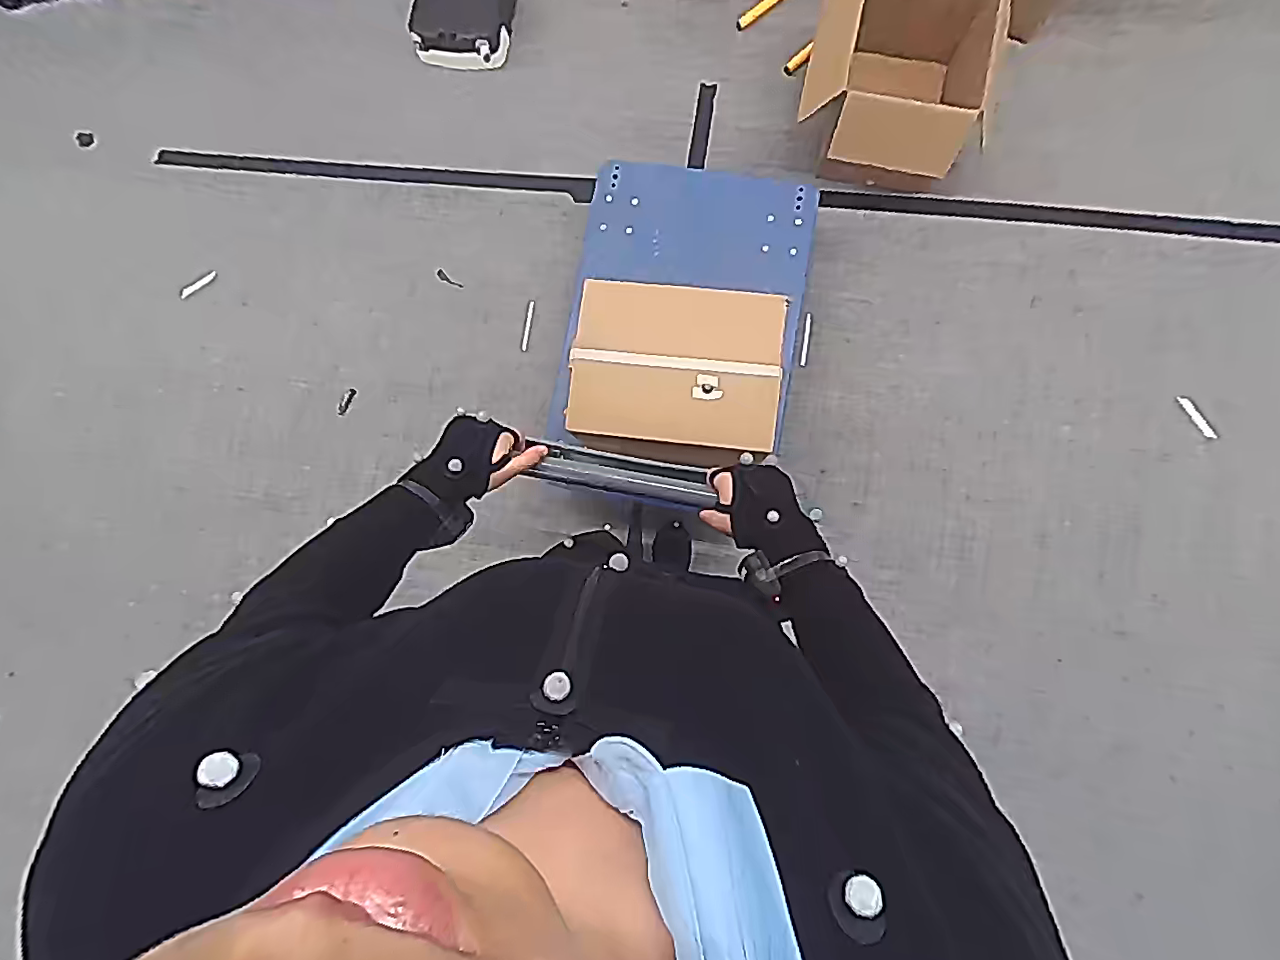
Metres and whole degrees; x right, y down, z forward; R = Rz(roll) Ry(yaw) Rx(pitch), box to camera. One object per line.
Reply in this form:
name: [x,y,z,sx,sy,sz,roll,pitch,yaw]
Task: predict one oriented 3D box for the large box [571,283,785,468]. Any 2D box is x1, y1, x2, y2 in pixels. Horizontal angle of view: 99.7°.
large box: [0.082,-0.213,1.211,0.408,0.320,0.320,6,85,4]
